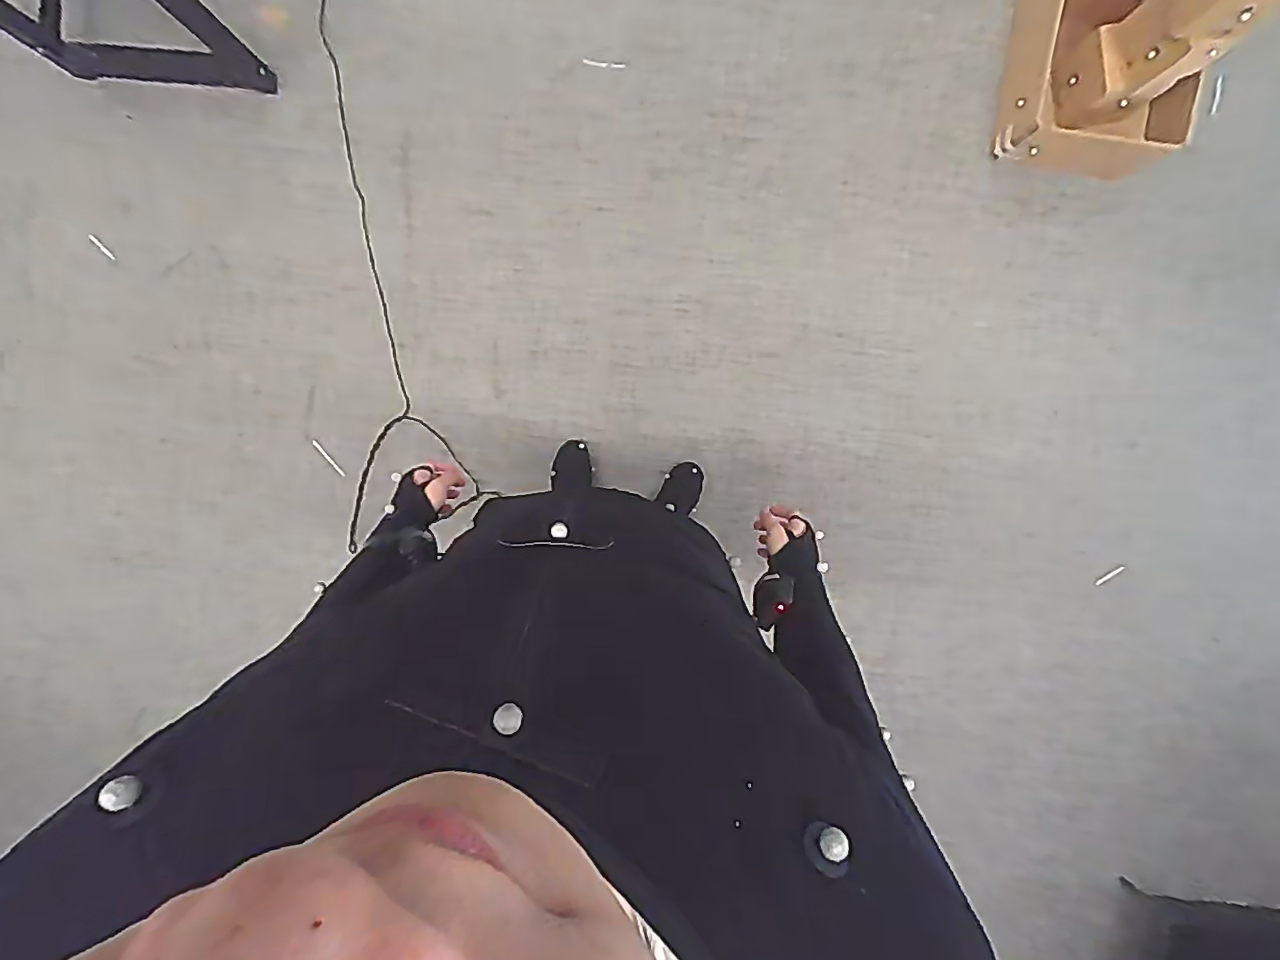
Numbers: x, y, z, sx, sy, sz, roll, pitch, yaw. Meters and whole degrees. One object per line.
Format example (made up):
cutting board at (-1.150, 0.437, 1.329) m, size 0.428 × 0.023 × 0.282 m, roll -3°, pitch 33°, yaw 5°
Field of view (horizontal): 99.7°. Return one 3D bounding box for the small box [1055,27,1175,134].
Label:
small box at (1.229, -1.042, 1.415) m, size 0.179 × 0.176 × 0.168 m, roll -8°, pitch 94°, yaw 0°

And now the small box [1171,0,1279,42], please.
small box at (1.232, -1.028, 1.089) m, size 0.168 × 0.176 × 0.179 m, roll 0°, pitch 95°, yaw 1°

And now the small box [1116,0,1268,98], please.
small box at (1.259, -1.035, 1.252) m, size 0.179 × 0.176 × 0.168 m, roll -19°, pitch 94°, yaw 1°
